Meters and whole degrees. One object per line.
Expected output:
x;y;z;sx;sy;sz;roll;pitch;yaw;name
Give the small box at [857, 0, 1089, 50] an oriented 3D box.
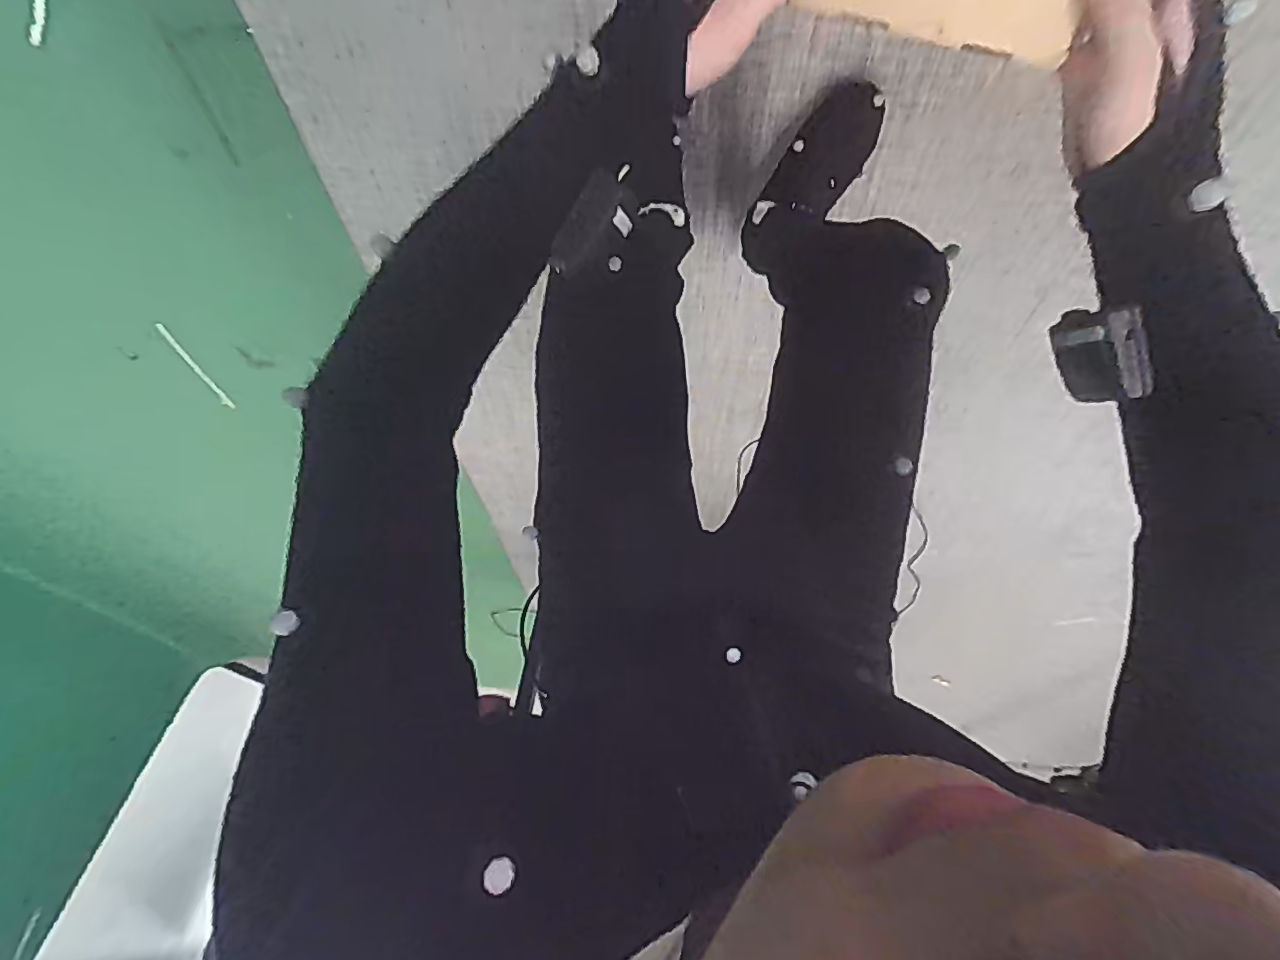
0.178;-0.372;0.290;0.168;0.176;0.179;11;138;-3;small box
